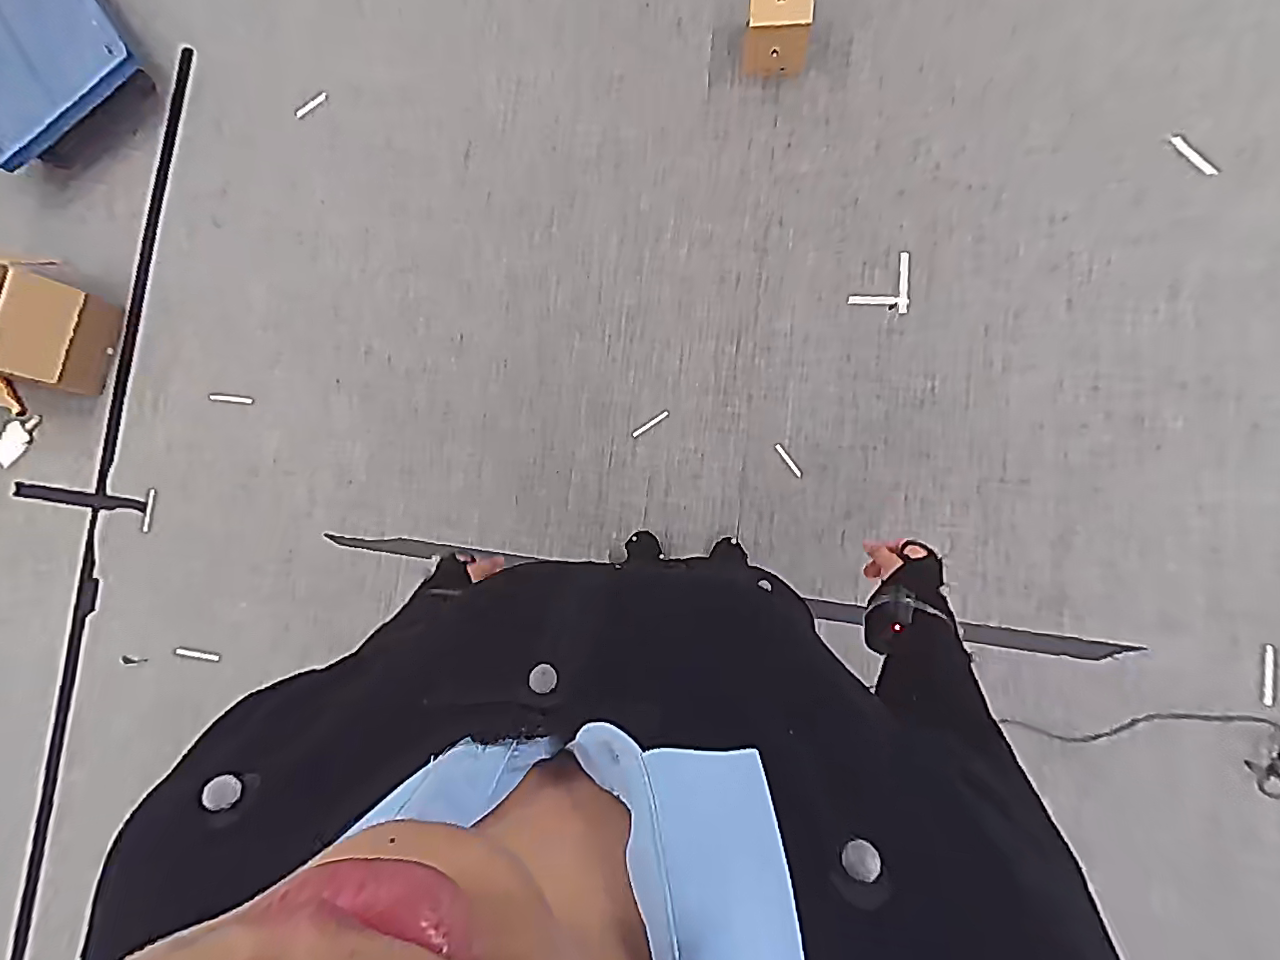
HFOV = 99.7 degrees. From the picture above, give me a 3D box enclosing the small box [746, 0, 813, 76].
[{"bbox_3d":[0.392,-1.280,1.524,0.168,0.176,0.179,4,84,8],"label":"small box"}]
